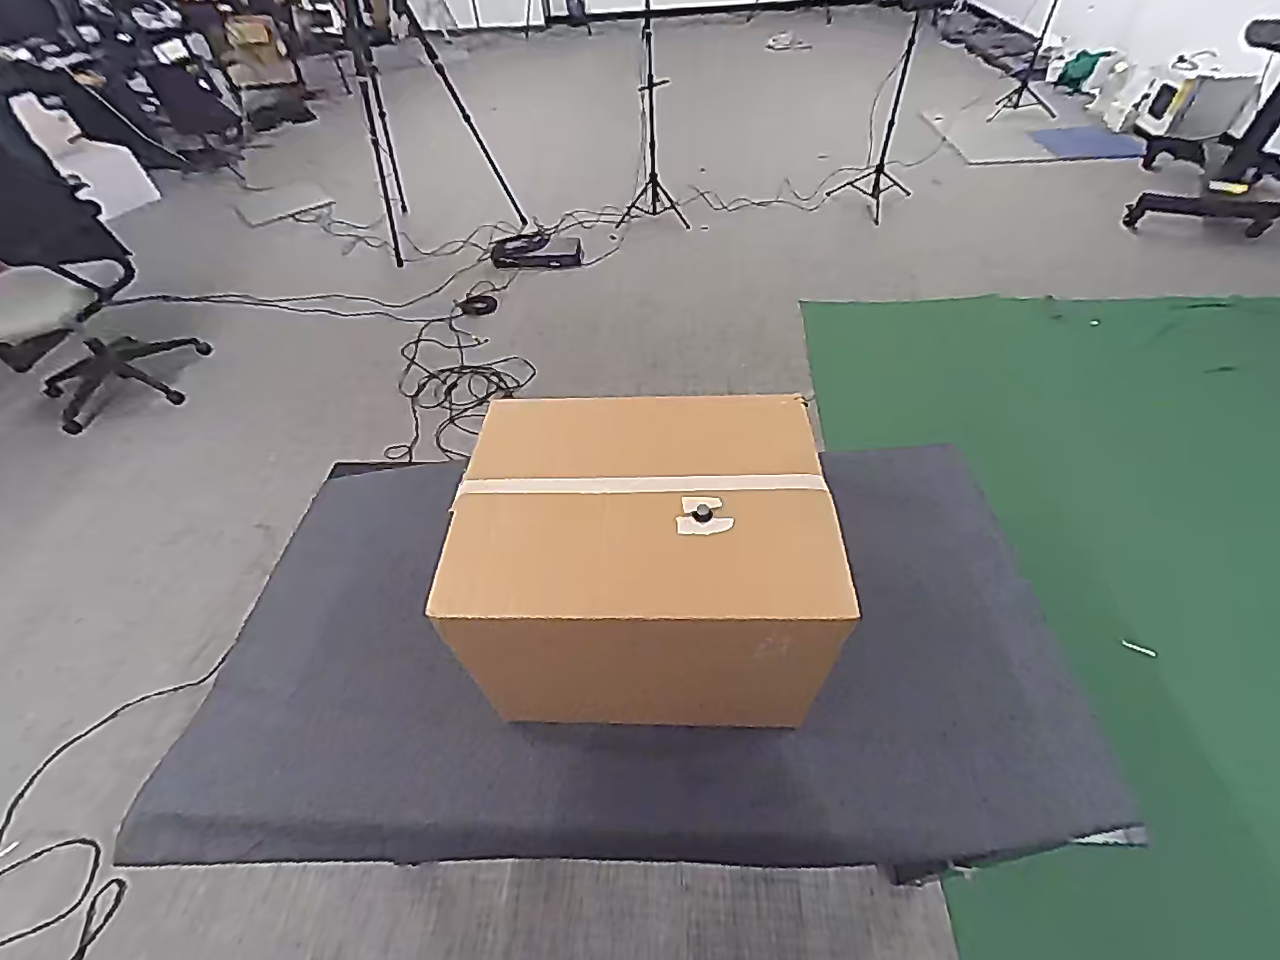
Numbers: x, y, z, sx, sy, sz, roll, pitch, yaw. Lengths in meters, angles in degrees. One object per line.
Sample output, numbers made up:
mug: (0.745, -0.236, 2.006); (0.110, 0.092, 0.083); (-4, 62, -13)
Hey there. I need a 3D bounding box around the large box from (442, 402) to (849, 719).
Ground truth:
large box: (0.009, 0.113, 0.726); (0.408, 0.320, 0.320); (0, 50, 3)
